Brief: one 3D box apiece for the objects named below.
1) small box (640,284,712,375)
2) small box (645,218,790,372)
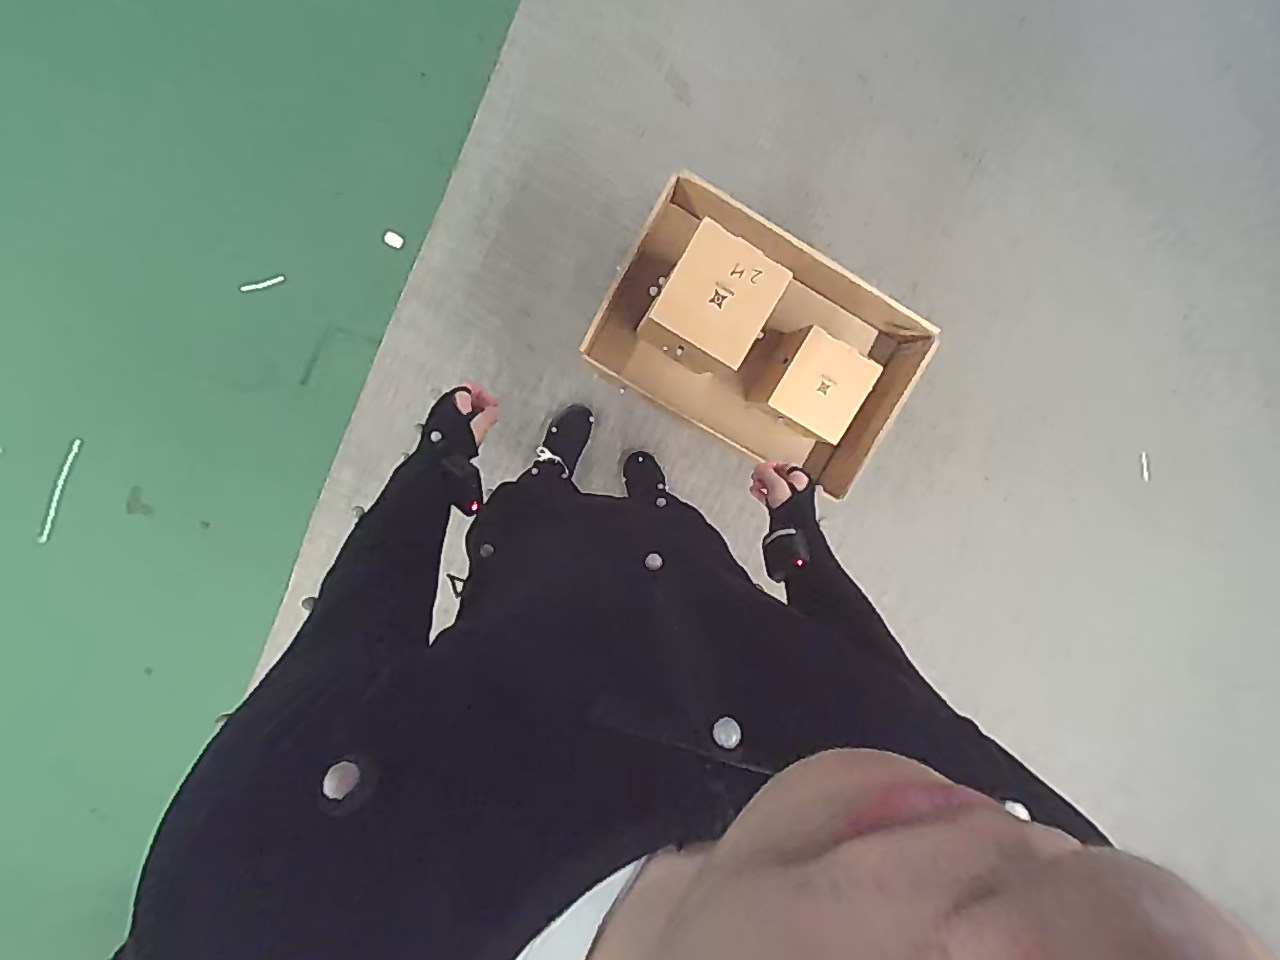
[{"bbox_3d":[0.109,-0.328,1.077,0.168,0.176,0.179,32,95,-6],"label":"small box"},{"bbox_3d":[0.119,-0.297,0.916,0.168,0.176,0.179,30,95,-8],"label":"small box"}]
